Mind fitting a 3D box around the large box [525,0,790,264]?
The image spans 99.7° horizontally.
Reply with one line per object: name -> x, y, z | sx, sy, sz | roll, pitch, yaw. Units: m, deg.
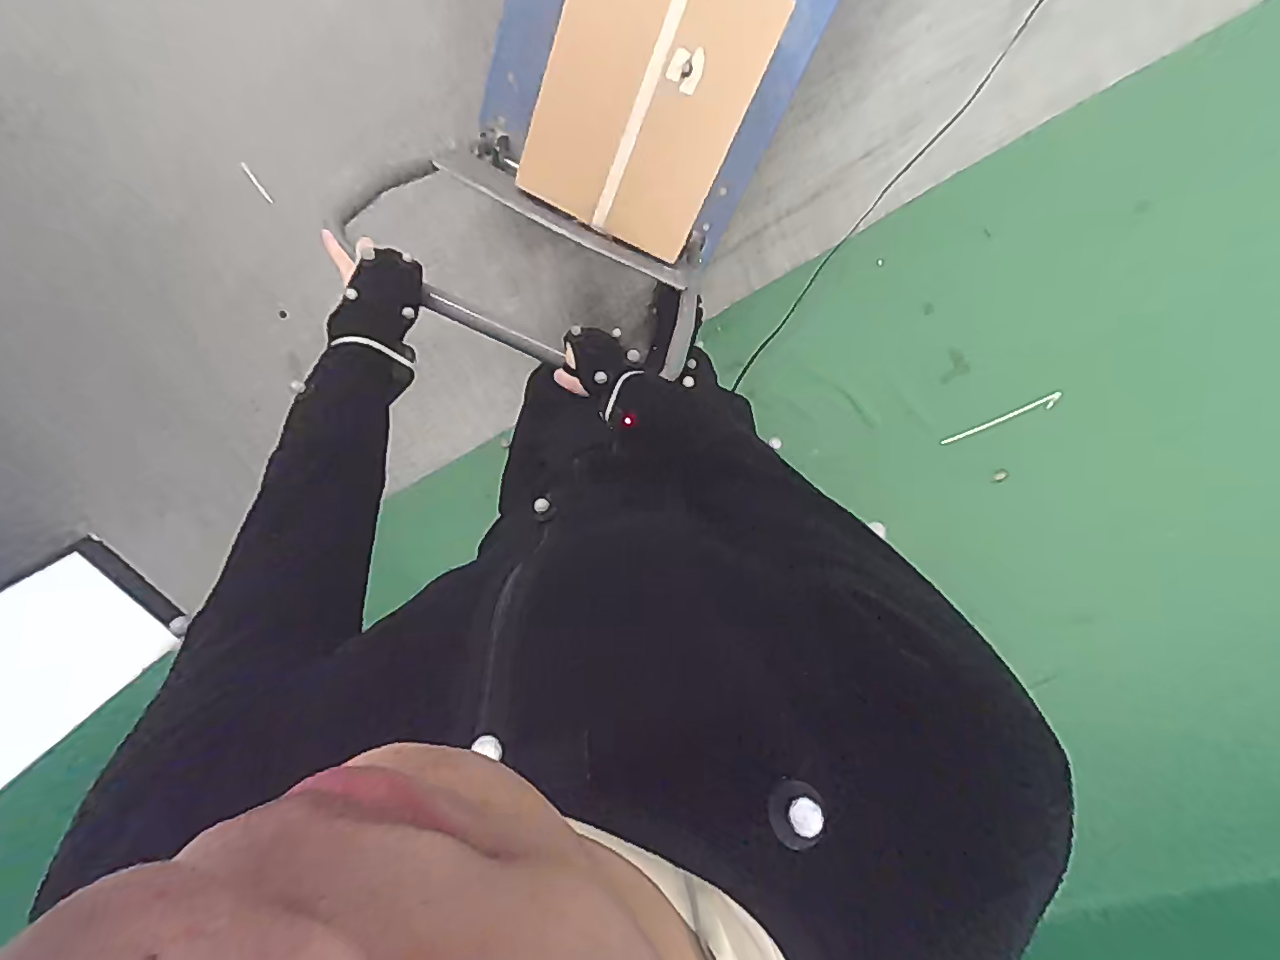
large box -> 0.023, -0.685, 1.009 | 0.320, 0.320, 0.408 | 24, 122, -9
